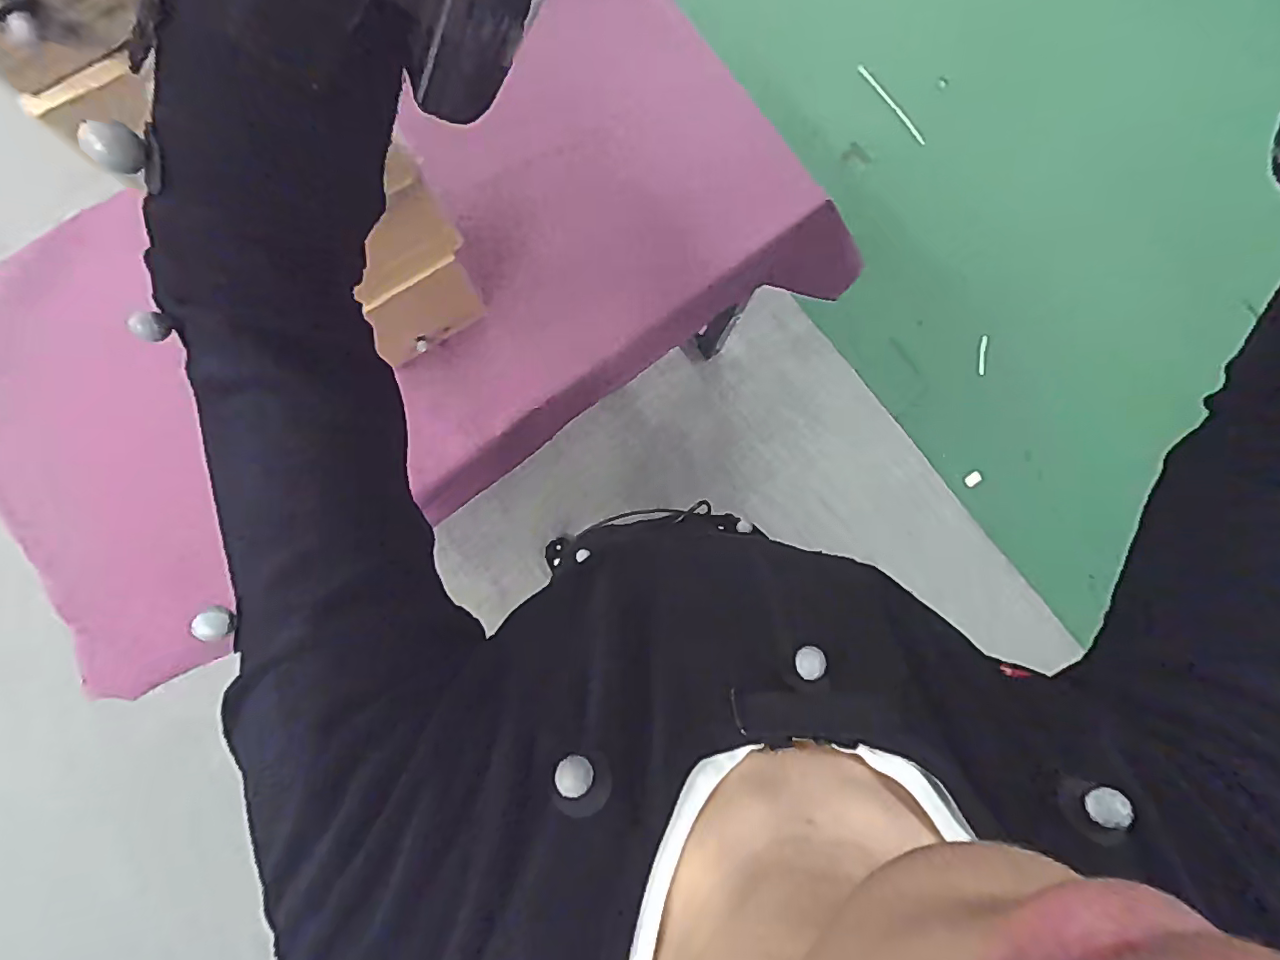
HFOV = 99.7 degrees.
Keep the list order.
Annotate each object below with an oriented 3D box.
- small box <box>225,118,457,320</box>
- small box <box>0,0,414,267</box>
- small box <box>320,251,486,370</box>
[{"bbox_3d":[-0.317,-0.293,0.541,0.179,0.176,0.168,-35,87,-5],"label":"small box"},{"bbox_3d":[-0.295,-0.290,0.377,0.168,0.176,0.179,-32,86,-5],"label":"small box"},{"bbox_3d":[-0.328,-0.272,0.701,0.168,0.176,0.179,-33,87,-5],"label":"small box"}]
